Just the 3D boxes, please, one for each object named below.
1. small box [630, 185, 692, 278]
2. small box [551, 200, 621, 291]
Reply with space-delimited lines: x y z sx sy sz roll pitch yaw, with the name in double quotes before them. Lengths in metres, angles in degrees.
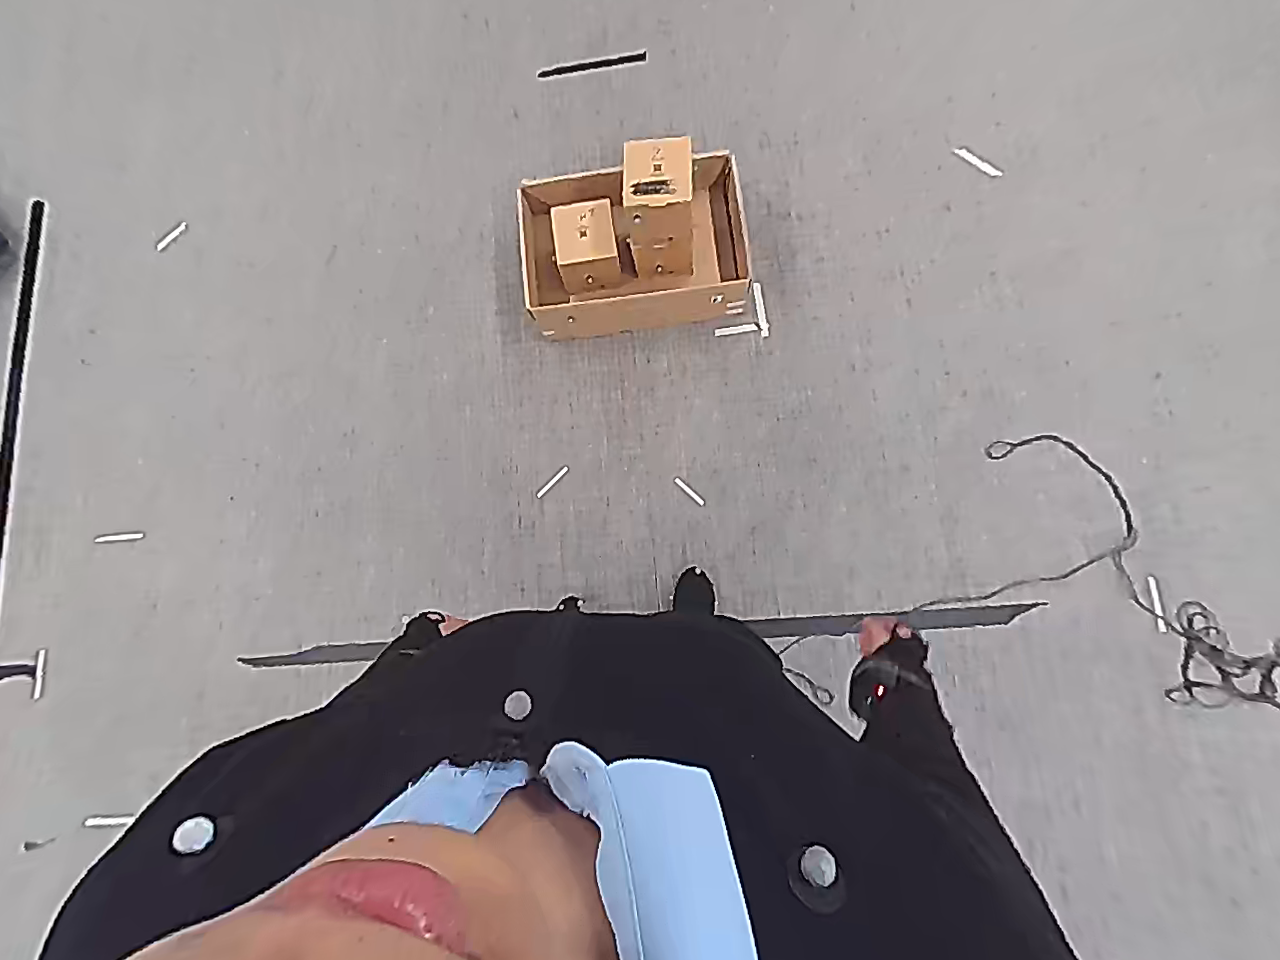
"small box" 0.063 -0.698 1.531 0.168 0.176 0.179 -2 82 7
"small box" -0.150 -0.657 1.537 0.168 0.176 0.179 -8 80 1
